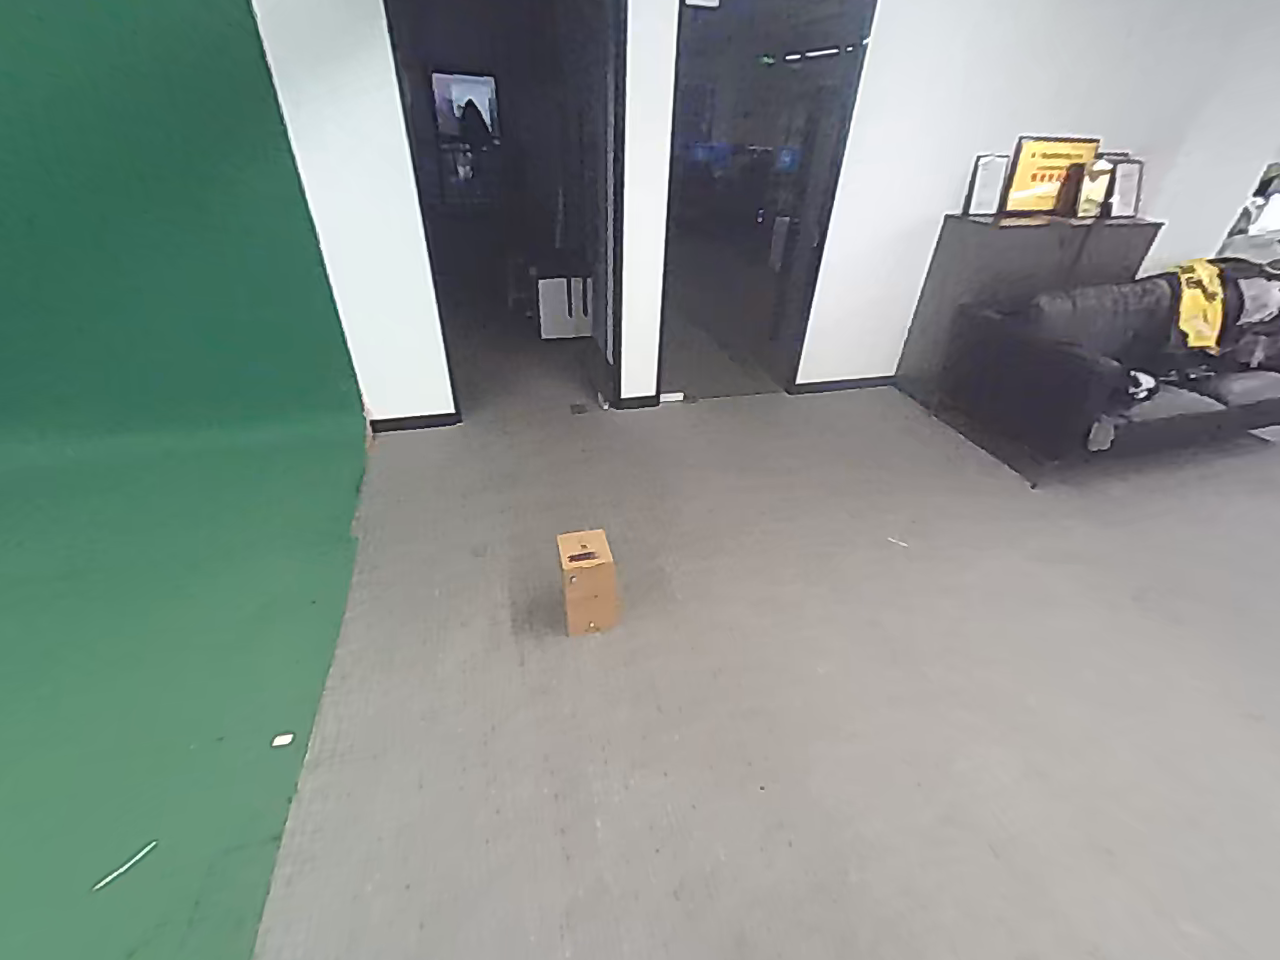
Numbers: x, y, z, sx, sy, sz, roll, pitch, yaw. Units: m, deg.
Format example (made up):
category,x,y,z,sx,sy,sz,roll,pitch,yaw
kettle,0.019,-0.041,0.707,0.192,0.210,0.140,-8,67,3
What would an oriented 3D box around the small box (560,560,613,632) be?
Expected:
category,x,y,z,sx,sy,sz,roll,pitch,yaw
small box,-0.195,0.415,1.944,0.168,0.176,0.179,-7,37,-12
